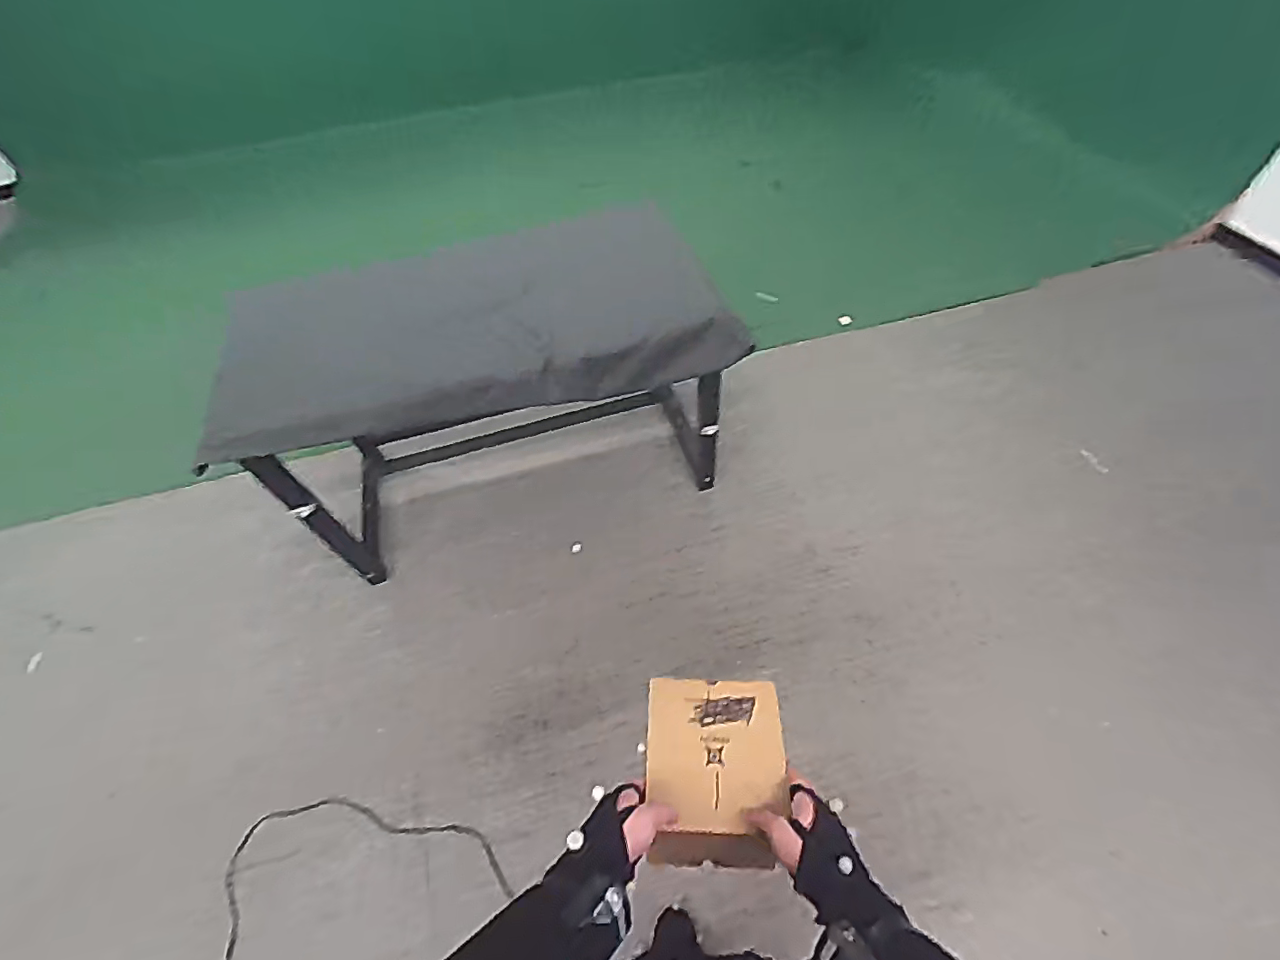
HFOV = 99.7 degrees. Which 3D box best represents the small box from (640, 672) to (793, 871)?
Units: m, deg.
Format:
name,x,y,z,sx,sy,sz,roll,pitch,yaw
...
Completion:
name,x,y,z,sx,sy,sz,roll,pitch,yaw
small box,0.086,0.368,0.686,0.168,0.176,0.179,1,44,3
